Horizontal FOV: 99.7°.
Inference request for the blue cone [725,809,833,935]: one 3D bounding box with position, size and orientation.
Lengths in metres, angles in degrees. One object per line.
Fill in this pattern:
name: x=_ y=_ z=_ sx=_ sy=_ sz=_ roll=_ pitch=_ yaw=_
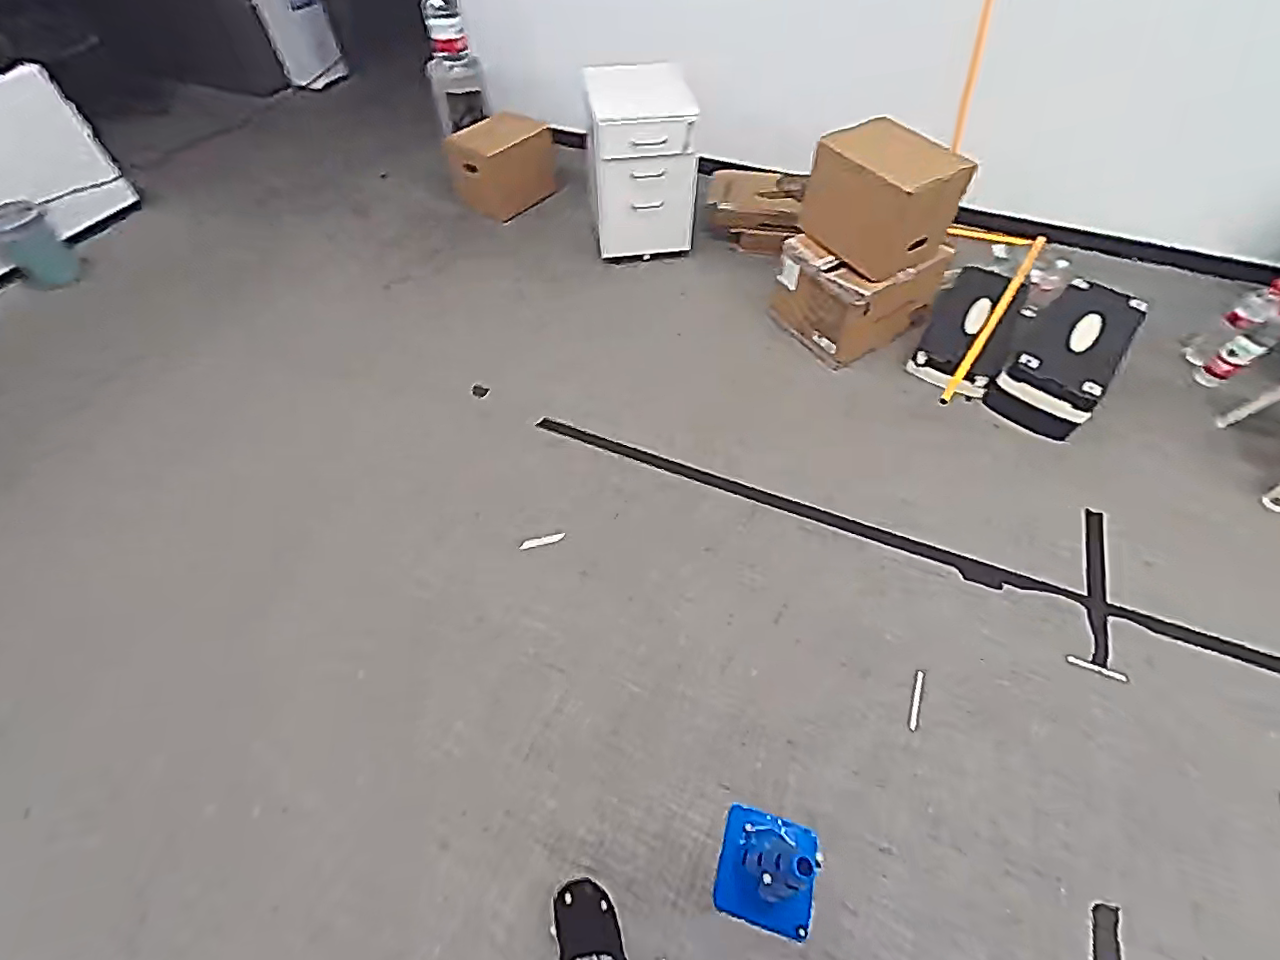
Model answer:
blue cone: x=0.281 y=0.726 z=1.014 sx=0.192 sy=0.380 sz=0.193 roll=15 pitch=56 yaw=11
